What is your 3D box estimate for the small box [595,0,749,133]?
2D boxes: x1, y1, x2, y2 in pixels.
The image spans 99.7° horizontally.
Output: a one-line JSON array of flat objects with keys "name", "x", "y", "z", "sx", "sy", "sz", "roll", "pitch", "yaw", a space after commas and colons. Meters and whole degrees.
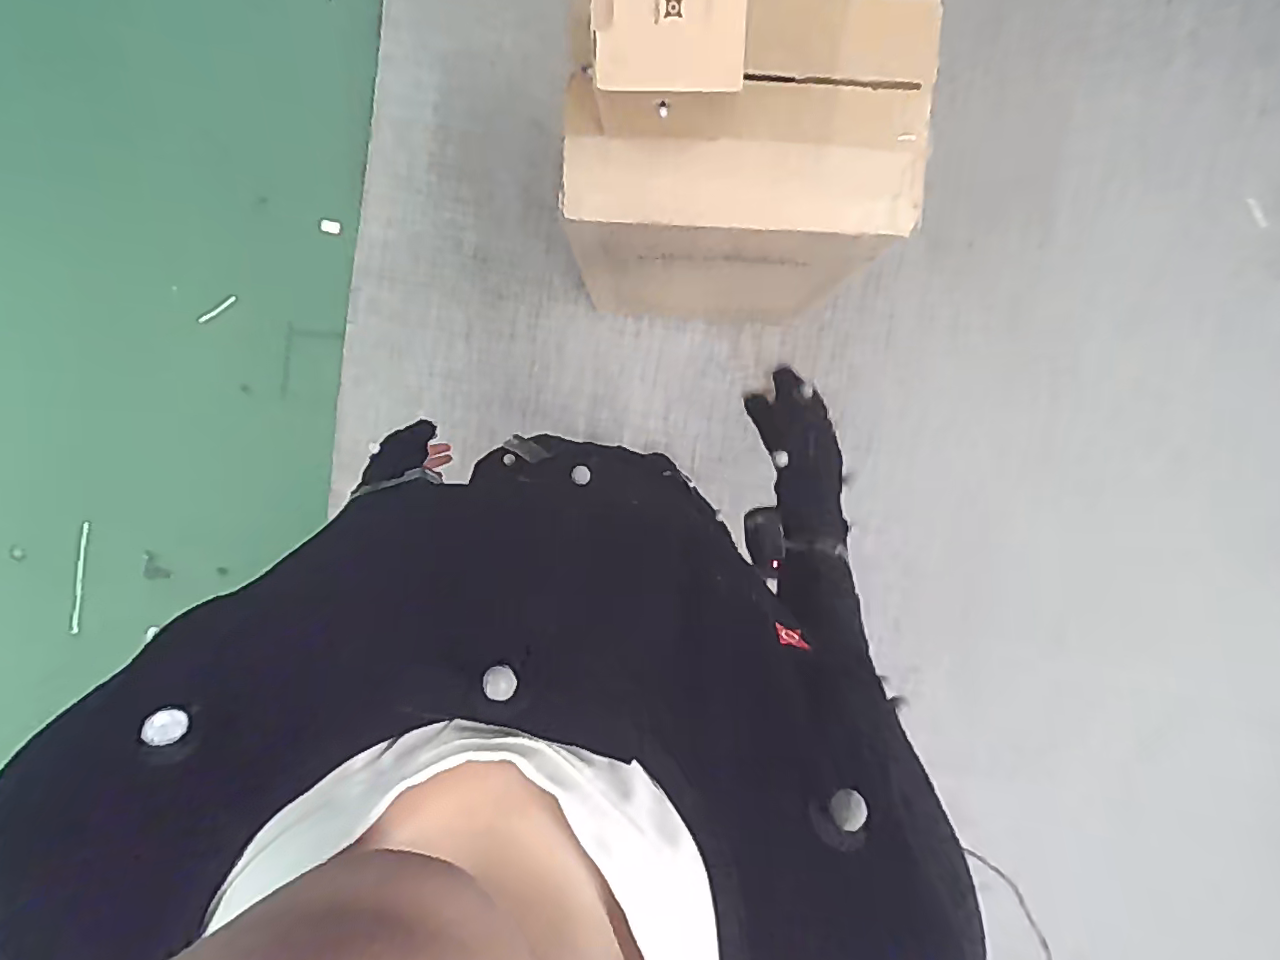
[{"name": "small box", "x": 0.037, "y": -0.562, "z": 0.689, "sx": 0.179, "sy": 0.176, "sz": 0.168, "roll": 1, "pitch": 107, "yaw": 0}]
